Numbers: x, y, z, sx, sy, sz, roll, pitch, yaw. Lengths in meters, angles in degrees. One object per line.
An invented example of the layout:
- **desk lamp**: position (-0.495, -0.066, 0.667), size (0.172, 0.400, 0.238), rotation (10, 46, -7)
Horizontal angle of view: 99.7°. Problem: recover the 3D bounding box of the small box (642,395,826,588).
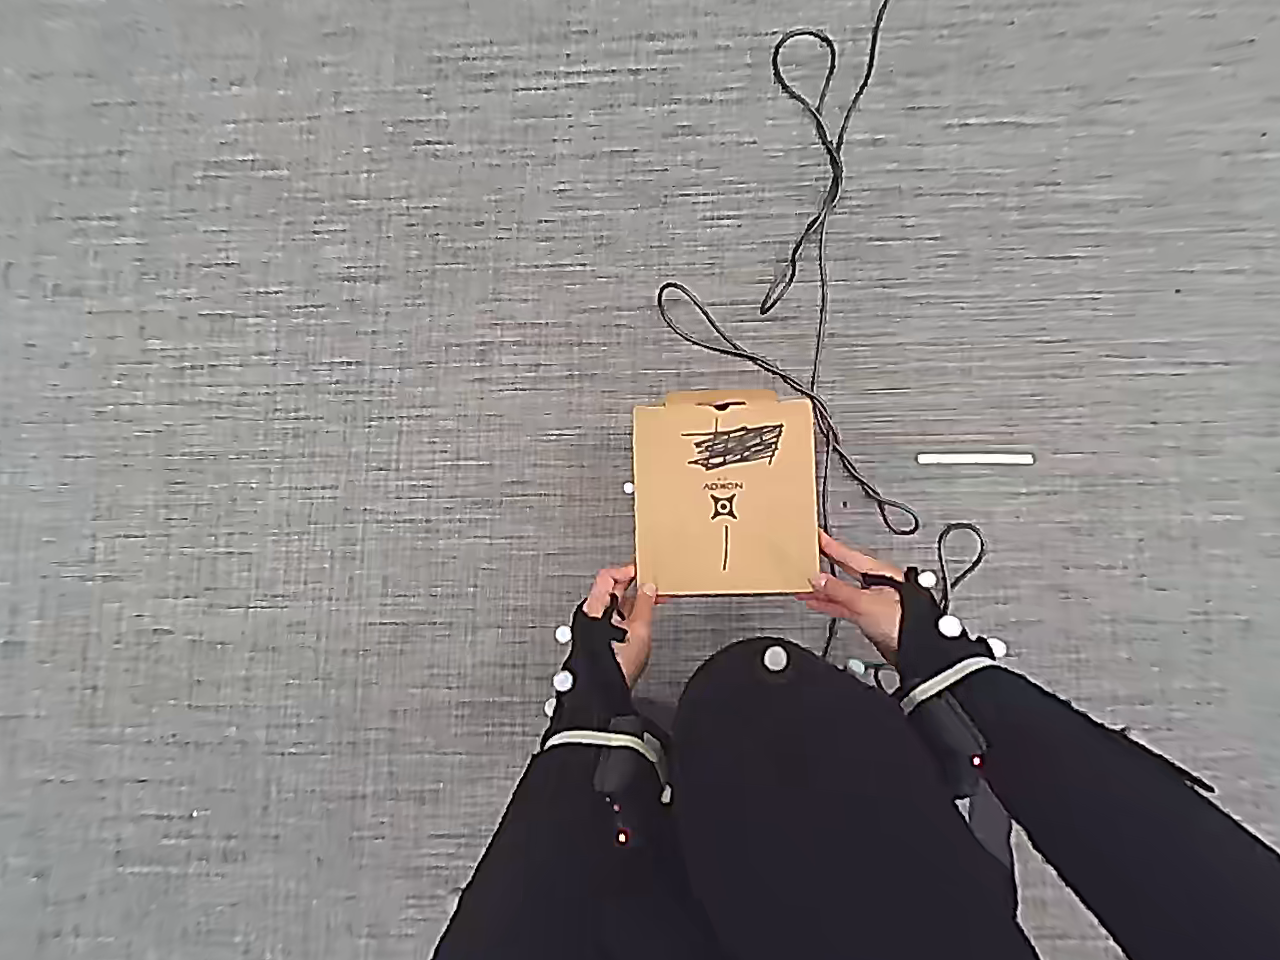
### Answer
- **small box**: position (0.087, 0.015, 0.567), size (0.168, 0.176, 0.179), rotation (-1, 87, 3)
